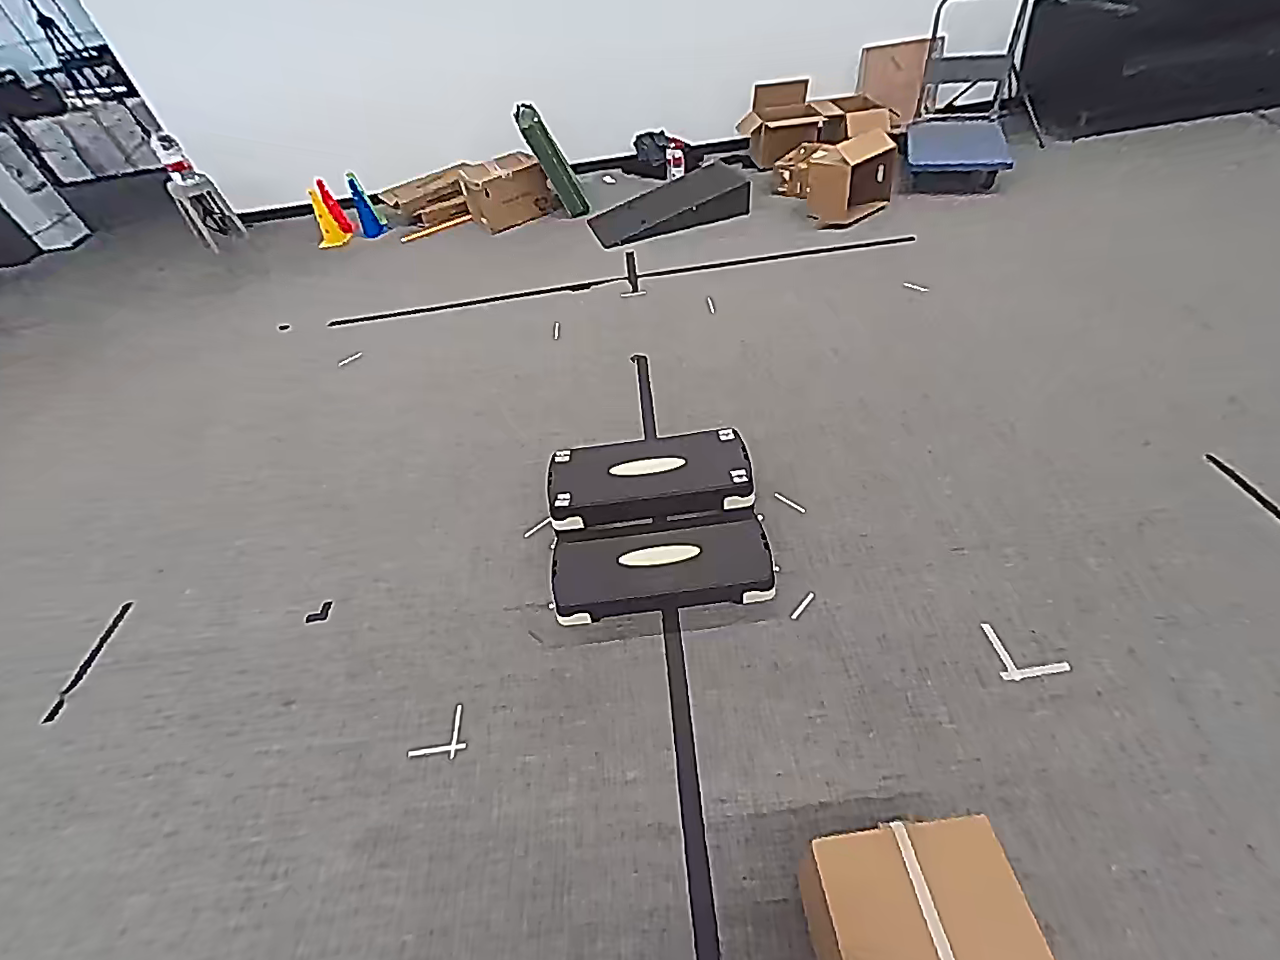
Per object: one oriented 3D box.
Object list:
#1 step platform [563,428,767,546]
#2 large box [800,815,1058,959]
[{"bbox_3d":[0.082,0.017,1.846,0.684,0.204,0.286,-8,47,1],"label":"step platform"},{"bbox_3d":[0.496,0.850,0.921,0.320,0.320,0.408,-9,47,2],"label":"large box"}]
